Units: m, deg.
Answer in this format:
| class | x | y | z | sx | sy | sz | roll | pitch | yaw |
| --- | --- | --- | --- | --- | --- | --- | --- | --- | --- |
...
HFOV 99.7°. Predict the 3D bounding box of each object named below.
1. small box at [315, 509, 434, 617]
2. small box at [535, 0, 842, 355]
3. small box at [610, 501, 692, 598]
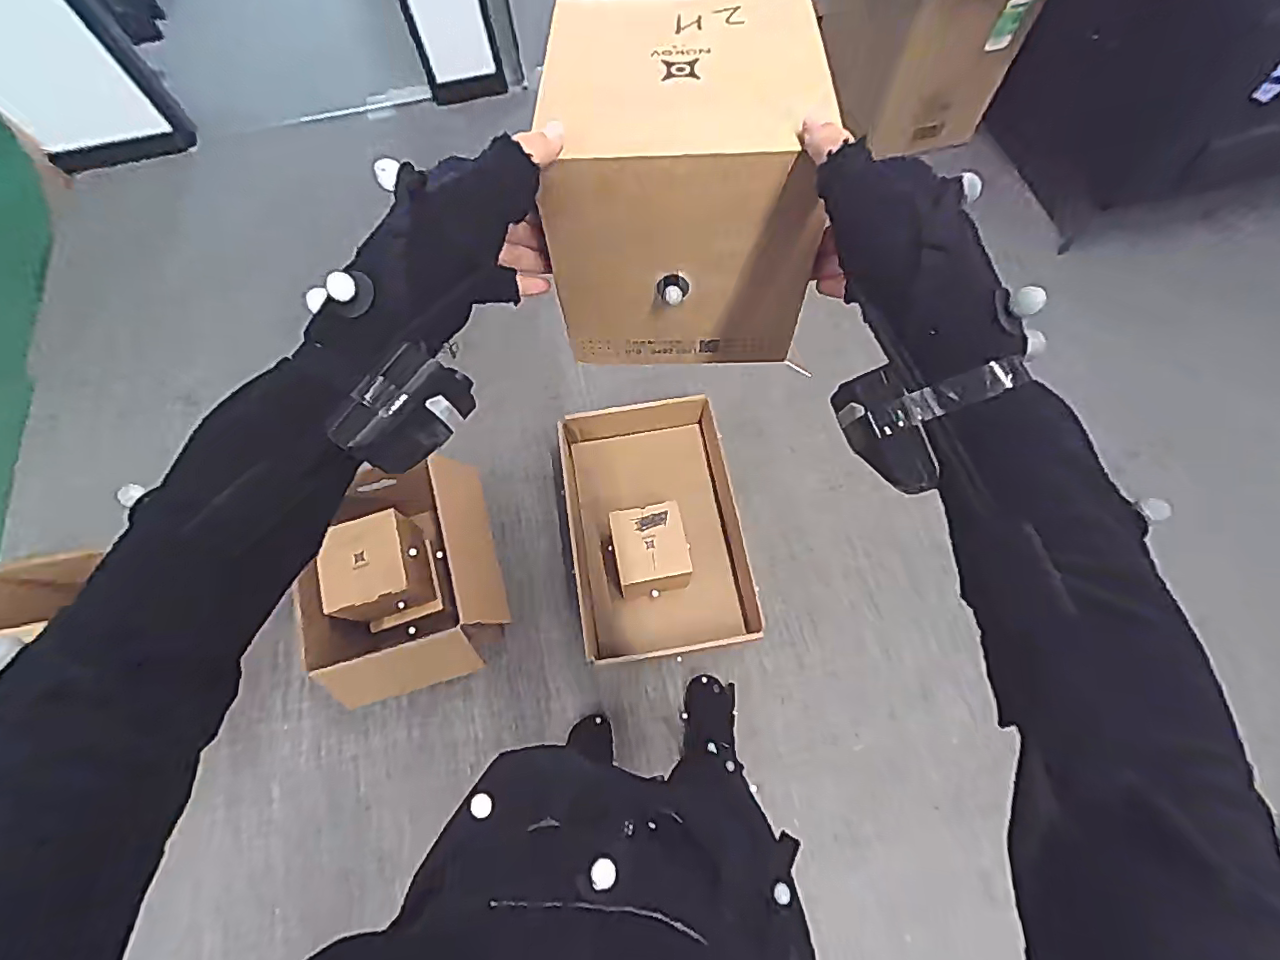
| class | x | y | z | sx | sy | sz | roll | pitch | yaw |
| --- | --- | --- | --- | --- | --- | --- | --- | --- | --- |
| small box | -0.559 | 0.185 | 1.156 | 0.168 | 0.176 | 0.179 | -17 | 70 | -6 |
| small box | 0.031 | -0.206 | 0.391 | 0.168 | 0.176 | 0.179 | 0 | 62 | 3 |
| small box | 0.022 | 0.170 | 1.294 | 0.168 | 0.176 | 0.179 | -10 | 68 | -3 |
